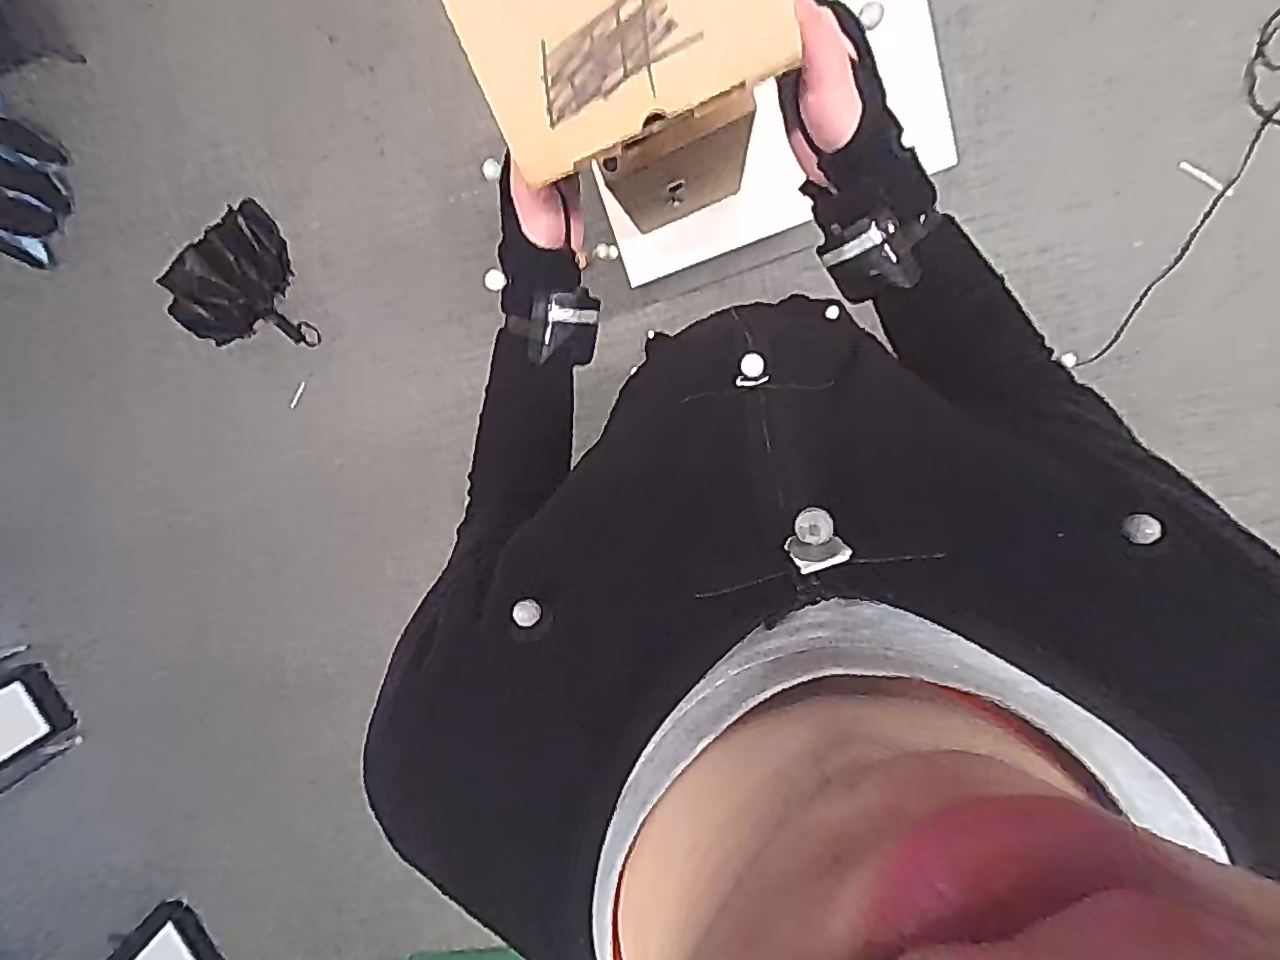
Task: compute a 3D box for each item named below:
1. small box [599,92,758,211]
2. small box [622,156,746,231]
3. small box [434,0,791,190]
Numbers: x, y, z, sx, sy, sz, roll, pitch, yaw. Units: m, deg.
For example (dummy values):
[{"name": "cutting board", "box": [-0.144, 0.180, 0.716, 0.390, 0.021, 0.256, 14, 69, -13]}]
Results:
[{"name": "small box", "box": [0.019, -0.429, 0.596, 0.168, 0.176, 0.179, -20, 102, 14]}, {"name": "small box", "box": [0.039, -0.476, 0.751, 0.168, 0.176, 0.179, -18, 102, 12]}, {"name": "small box", "box": [-0.019, -0.304, 0.320, 0.168, 0.176, 0.179, -16, 122, 16]}]
